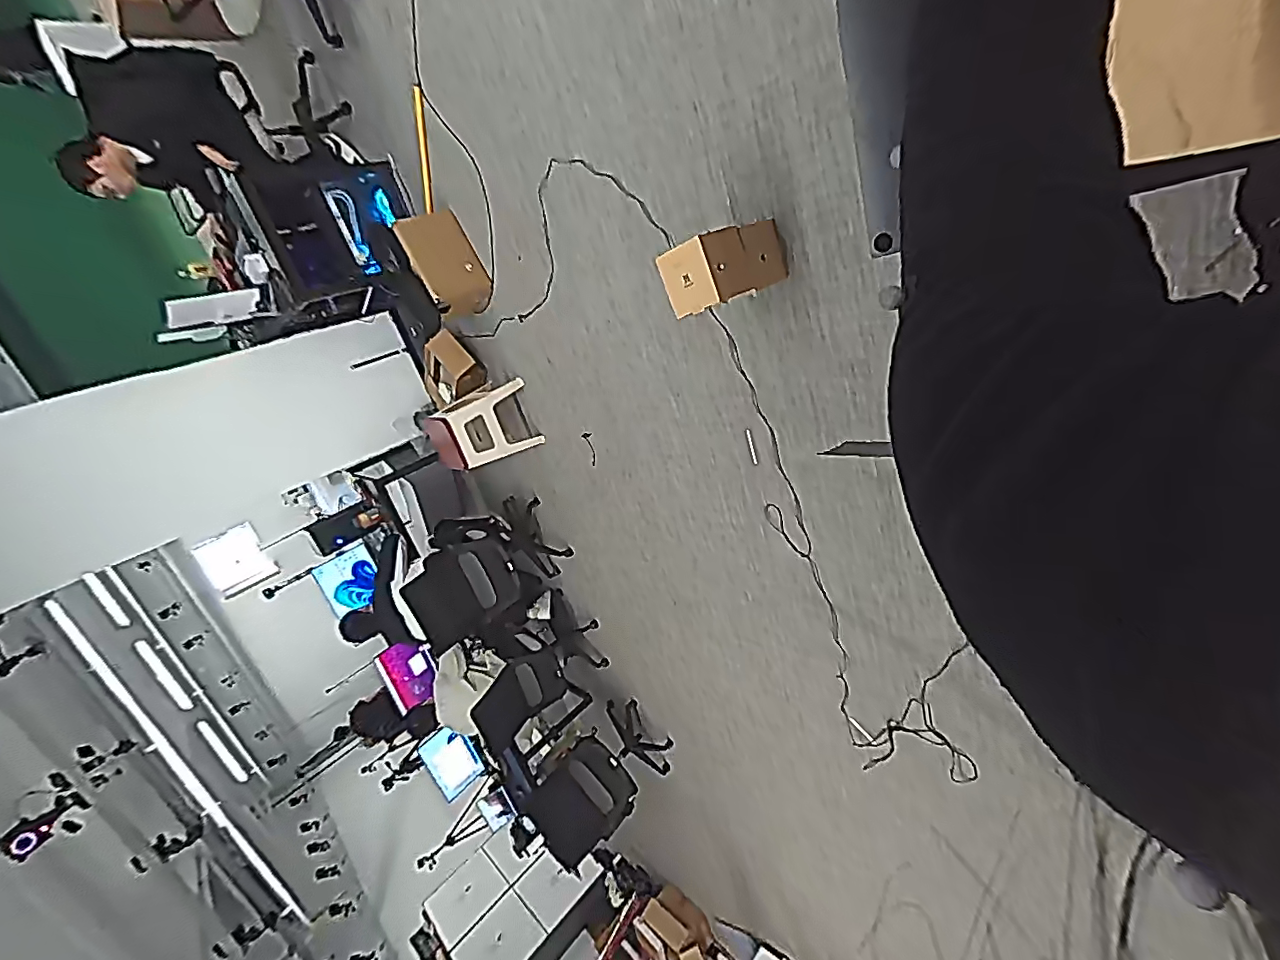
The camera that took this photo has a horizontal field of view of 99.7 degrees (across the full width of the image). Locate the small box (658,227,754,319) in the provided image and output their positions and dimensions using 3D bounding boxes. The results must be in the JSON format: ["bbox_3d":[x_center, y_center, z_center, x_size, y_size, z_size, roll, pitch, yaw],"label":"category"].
[{"bbox_3d":[0.184,-0.563,1.473,0.168,0.176,0.179,-5,111,51],"label":"small box"}]

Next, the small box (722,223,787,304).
[{"bbox_3d":[0.299,-0.629,1.568,0.168,0.176,0.179,0,117,50],"label":"small box"}]
